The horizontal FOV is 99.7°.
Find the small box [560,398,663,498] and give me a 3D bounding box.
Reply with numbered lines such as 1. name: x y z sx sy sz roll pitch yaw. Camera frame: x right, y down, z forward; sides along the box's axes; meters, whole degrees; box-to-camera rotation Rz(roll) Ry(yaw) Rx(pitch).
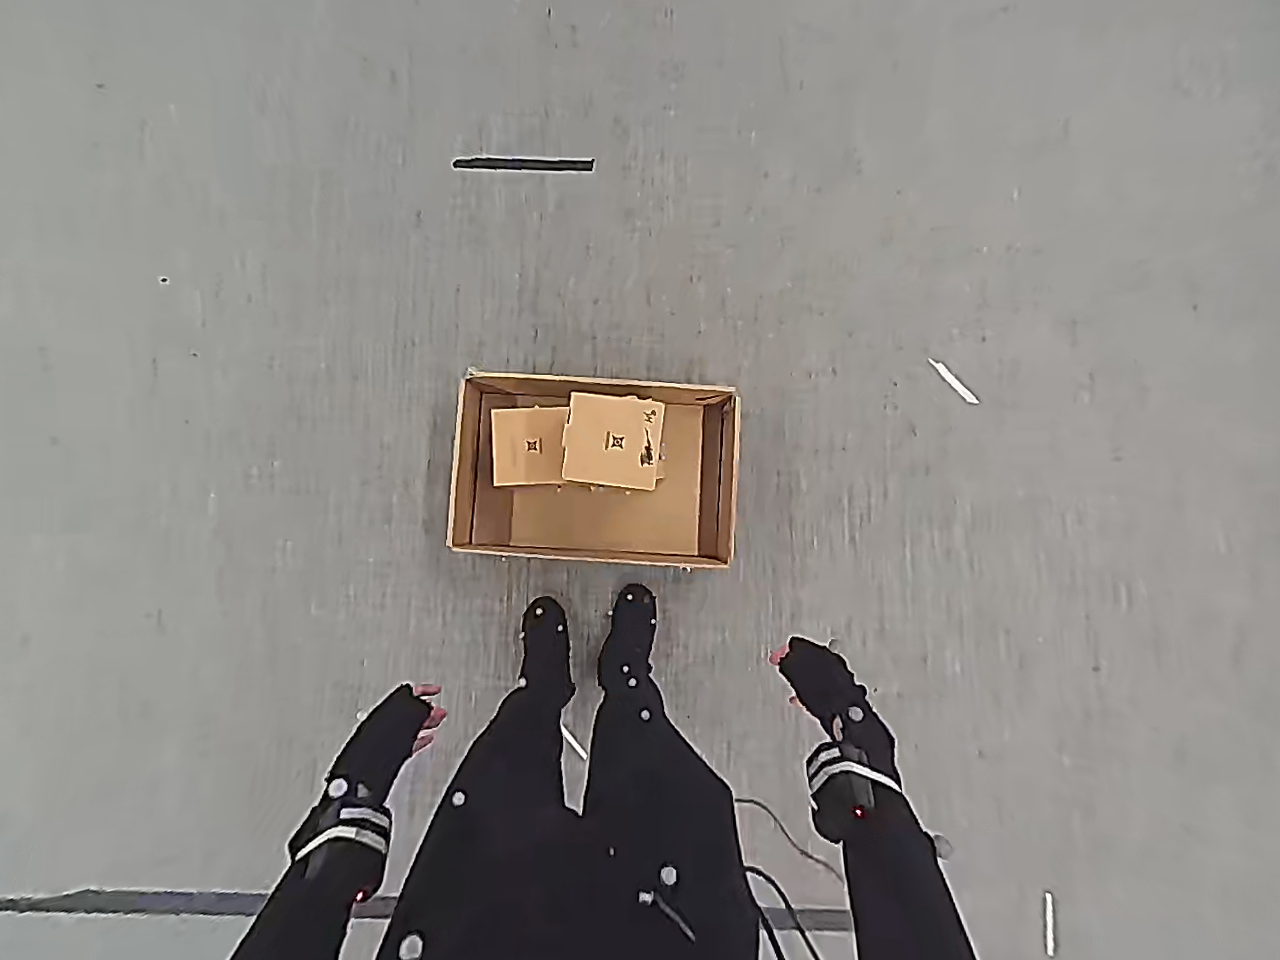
1. small box: -0.051 -0.056 1.072 0.179 0.176 0.168 7 86 0
